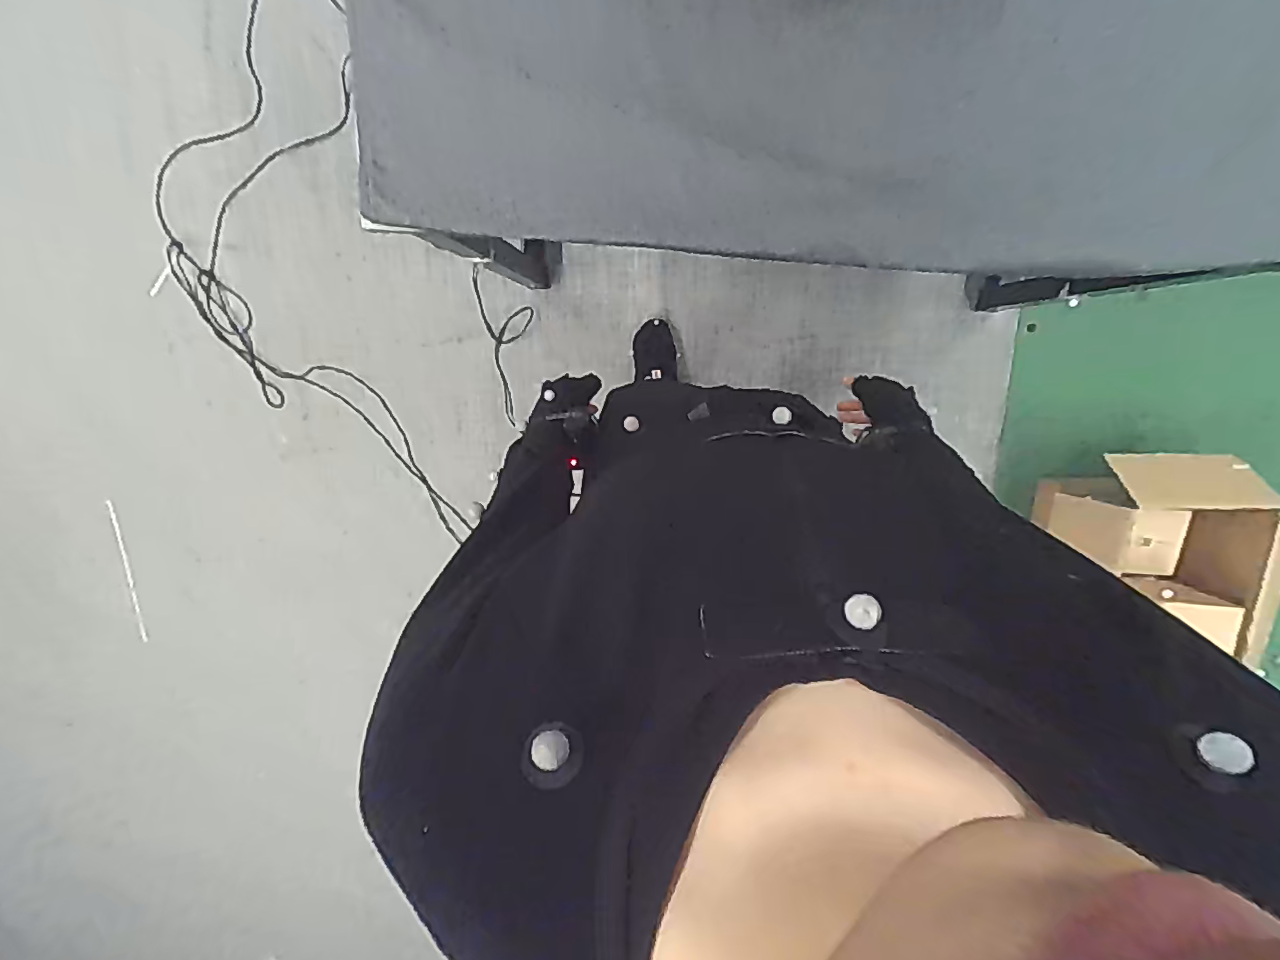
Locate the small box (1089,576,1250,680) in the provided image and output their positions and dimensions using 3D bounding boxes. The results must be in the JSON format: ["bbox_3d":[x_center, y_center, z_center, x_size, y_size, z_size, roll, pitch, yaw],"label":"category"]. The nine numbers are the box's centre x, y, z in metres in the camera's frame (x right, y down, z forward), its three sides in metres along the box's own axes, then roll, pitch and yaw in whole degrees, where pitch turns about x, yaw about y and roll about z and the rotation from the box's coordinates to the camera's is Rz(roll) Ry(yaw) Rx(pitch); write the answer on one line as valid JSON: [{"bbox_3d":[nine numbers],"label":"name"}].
[{"bbox_3d":[1.169,0.323,1.207,0.179,0.176,0.168,4,99,1],"label":"small box"}]
